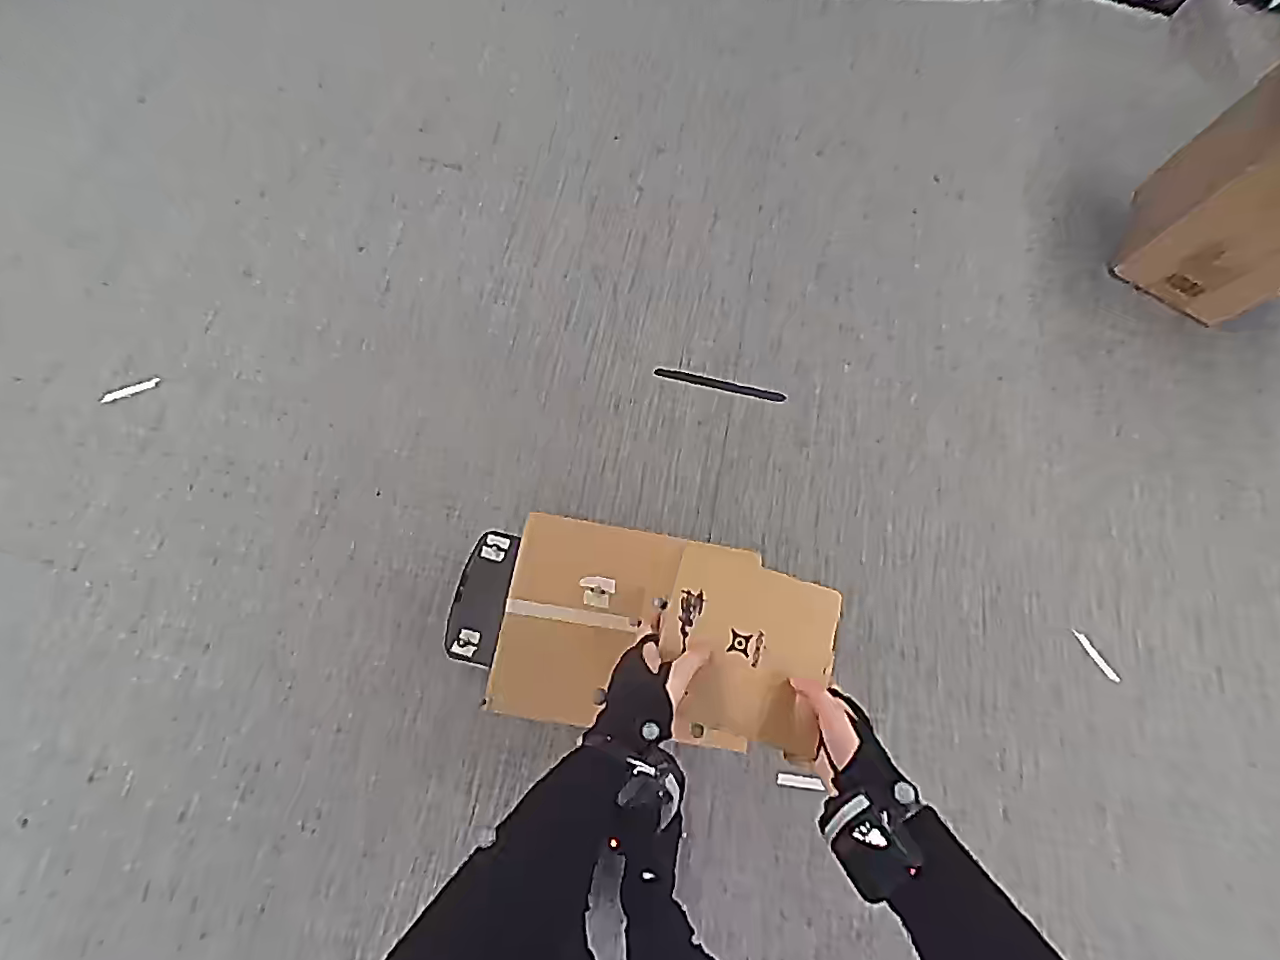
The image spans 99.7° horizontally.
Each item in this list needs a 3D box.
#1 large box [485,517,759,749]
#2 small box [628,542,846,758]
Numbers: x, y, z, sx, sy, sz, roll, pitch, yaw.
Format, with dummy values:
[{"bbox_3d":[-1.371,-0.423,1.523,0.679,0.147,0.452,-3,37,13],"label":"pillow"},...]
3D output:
[{"bbox_3d":[-0.026,0.280,0.992,0.408,0.320,0.320,10,69,-2],"label":"large box"},{"bbox_3d":[0.098,0.187,0.605,0.179,0.176,0.168,18,69,-1],"label":"small box"}]
